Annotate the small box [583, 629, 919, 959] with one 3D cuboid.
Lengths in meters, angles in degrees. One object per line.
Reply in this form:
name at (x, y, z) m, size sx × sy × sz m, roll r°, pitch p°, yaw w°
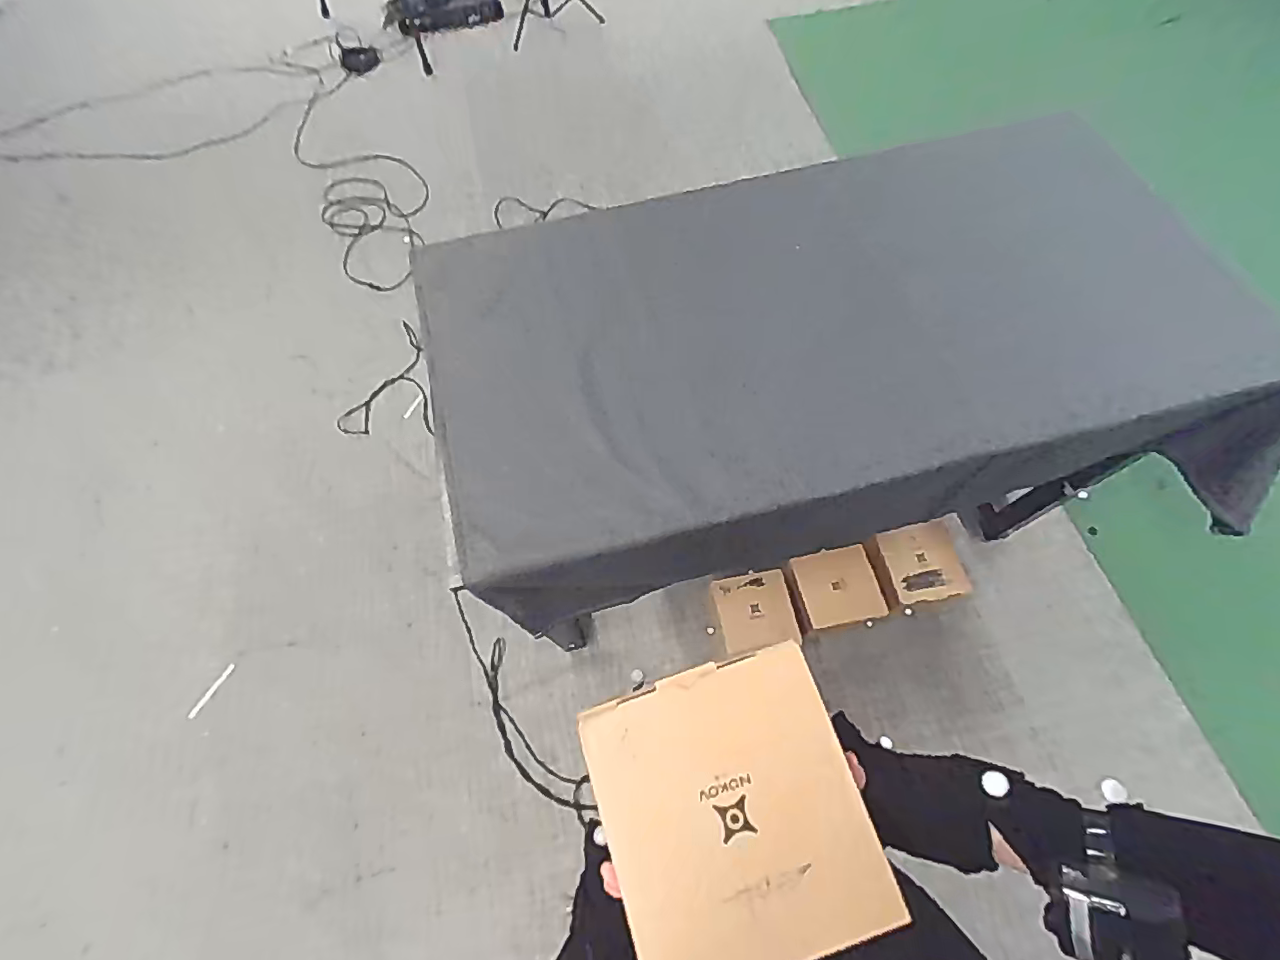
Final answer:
small box at (0.065, 0.229, 0.413) m, size 0.168 × 0.176 × 0.179 m, roll -18°, pitch 71°, yaw -3°
